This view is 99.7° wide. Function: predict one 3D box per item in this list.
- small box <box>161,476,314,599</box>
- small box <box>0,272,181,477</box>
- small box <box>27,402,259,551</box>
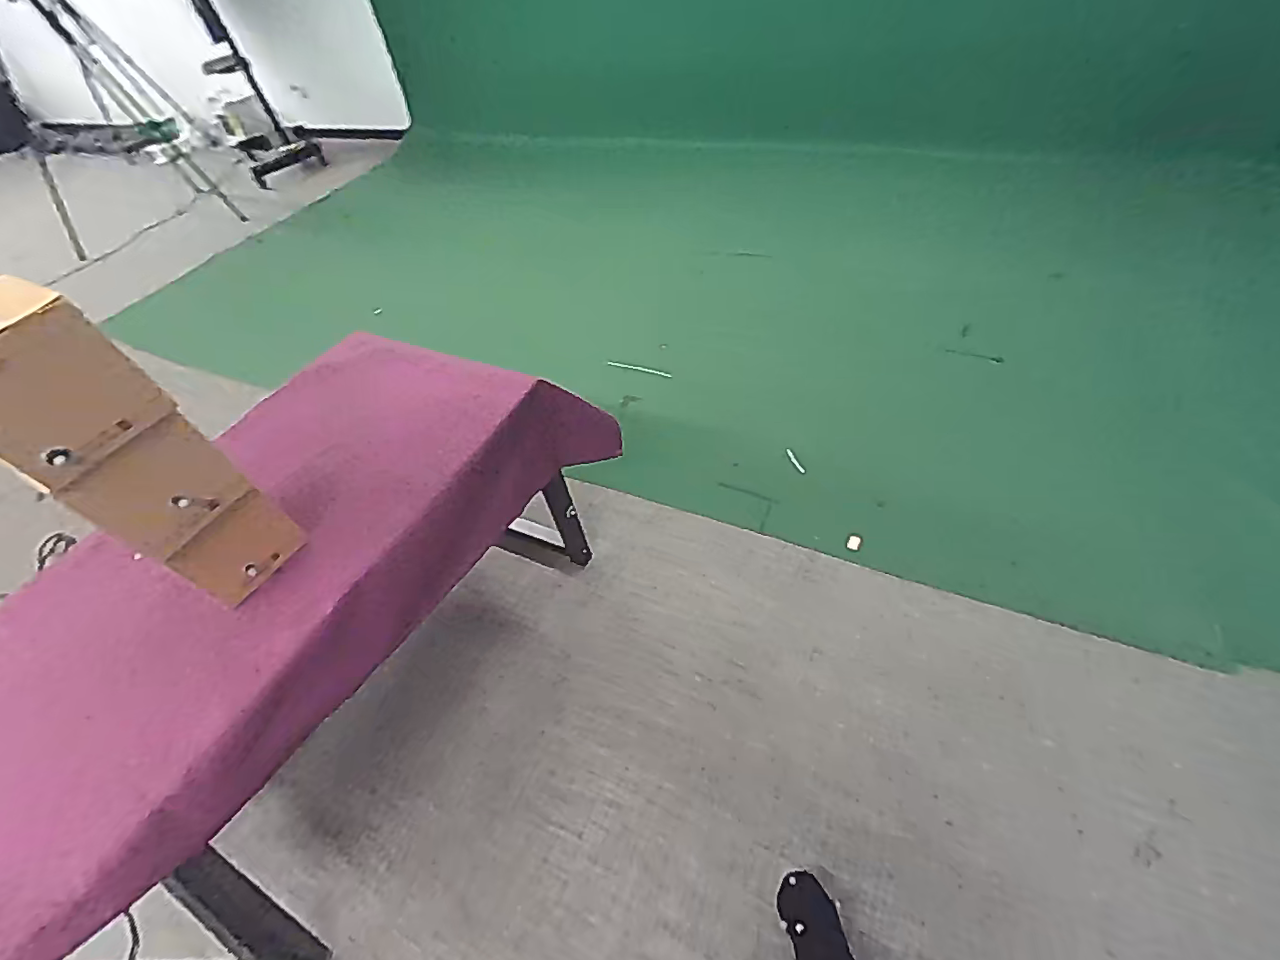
[{"bbox_3d":[-0.715,0.076,0.926,0.179,0.176,0.168,21,57,24],"label":"small box"},{"bbox_3d":[-0.734,-0.127,0.668,0.179,0.176,0.168,20,56,25],"label":"small box"},{"bbox_3d":[-0.724,-0.021,0.794,0.179,0.176,0.168,20,57,24],"label":"small box"}]
